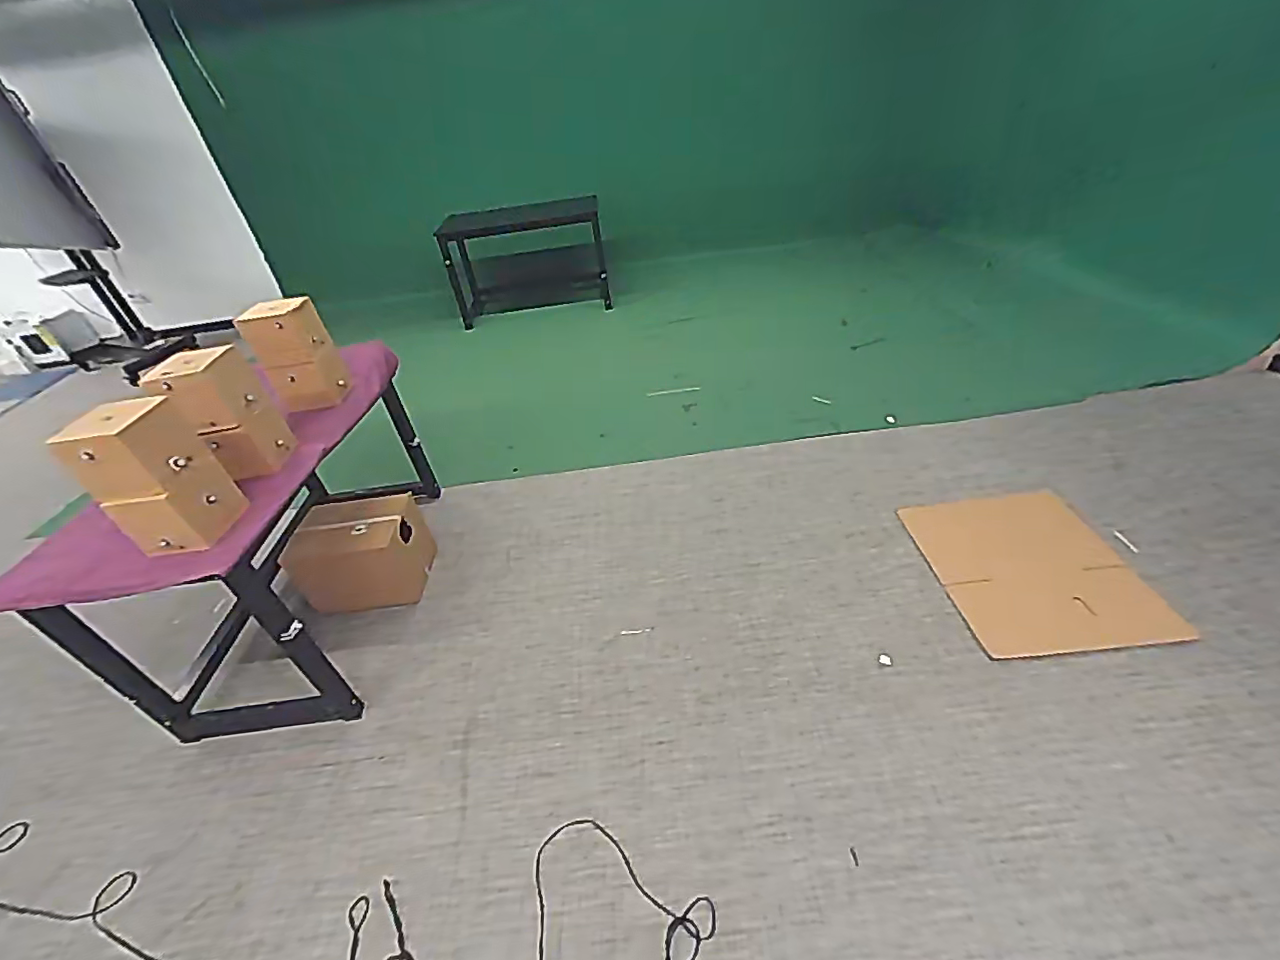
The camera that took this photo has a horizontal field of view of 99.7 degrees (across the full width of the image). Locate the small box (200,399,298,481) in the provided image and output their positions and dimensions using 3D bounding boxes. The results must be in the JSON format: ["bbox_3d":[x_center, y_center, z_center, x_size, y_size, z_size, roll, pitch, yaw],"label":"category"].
[{"bbox_3d":[-1.144,-0.113,1.567,0.179,0.176,0.168,-9,37,1],"label":"small box"}]

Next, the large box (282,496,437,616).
[{"bbox_3d":[-1.072,0.296,2.118,0.408,0.320,0.320,-7,38,1],"label":"large box"}]

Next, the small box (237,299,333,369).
[{"bbox_3d":[-1.163,-0.480,1.785,0.179,0.176,0.168,-8,37,1],"label":"small box"}]

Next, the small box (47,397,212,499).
[{"bbox_3d":[-1.154,-0.070,1.240,0.179,0.176,0.168,-6,38,4],"label":"small box"}]

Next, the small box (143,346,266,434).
[{"bbox_3d":[-1.163,-0.242,1.467,0.168,0.176,0.179,-10,36,1],"label":"small box"}]

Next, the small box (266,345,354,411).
[{"bbox_3d":[-1.139,-0.352,1.881,0.179,0.176,0.168,-7,37,1],"label":"small box"}]
